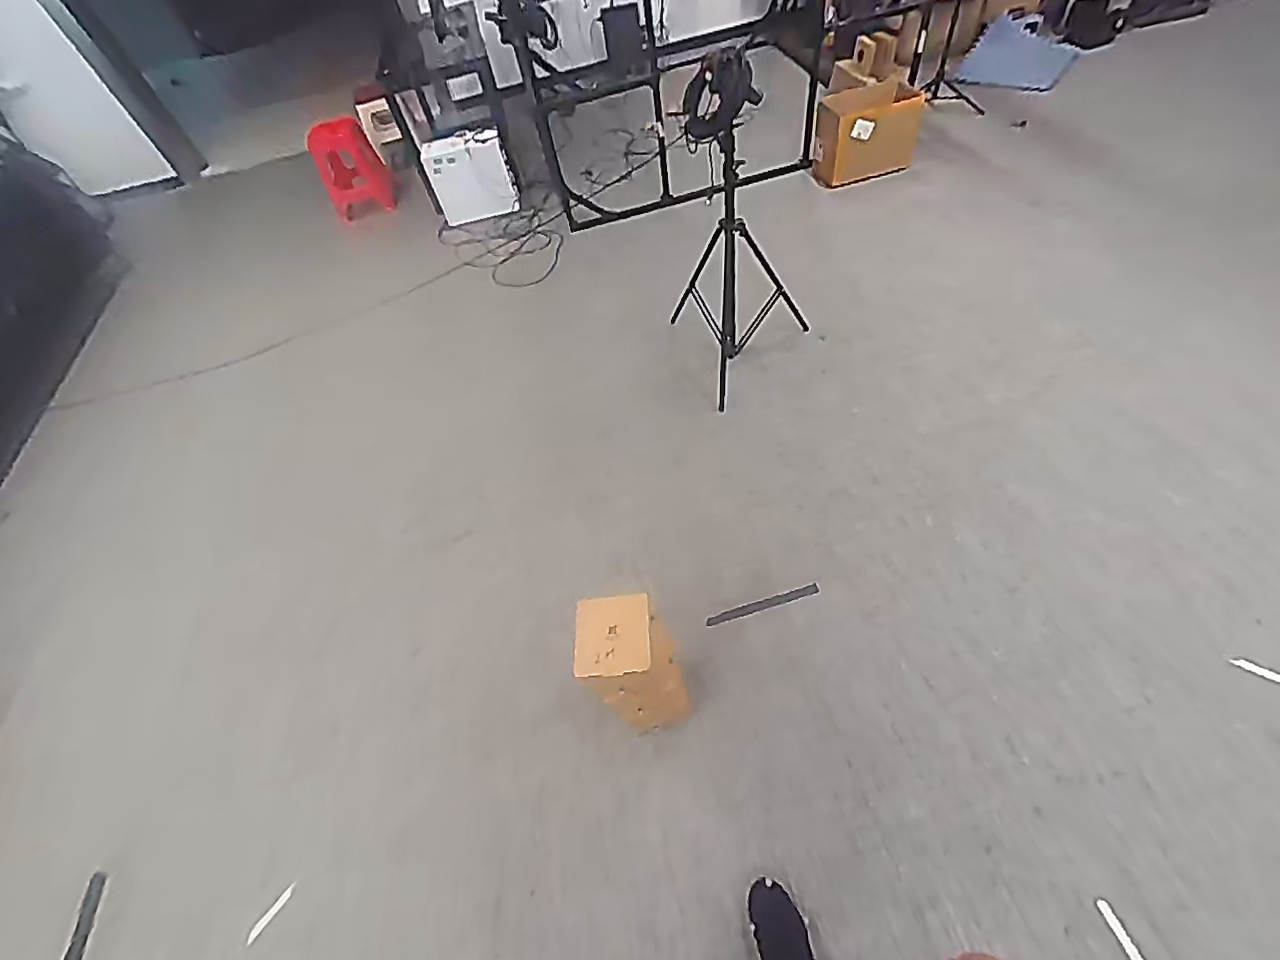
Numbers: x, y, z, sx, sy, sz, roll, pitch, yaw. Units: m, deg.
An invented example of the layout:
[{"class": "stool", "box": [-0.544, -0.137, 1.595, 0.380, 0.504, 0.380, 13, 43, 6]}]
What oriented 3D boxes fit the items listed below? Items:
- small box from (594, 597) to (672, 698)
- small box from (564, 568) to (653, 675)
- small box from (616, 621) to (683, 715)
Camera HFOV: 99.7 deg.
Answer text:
[{"class": "small box", "box": [-0.021, 0.414, 1.327, 0.168, 0.176, 0.179, -12, 54, 3]}, {"class": "small box", "box": [-0.064, 0.317, 1.200, 0.168, 0.176, 0.179, -7, 54, 6]}, {"class": "small box", "box": [0.015, 0.507, 1.454, 0.168, 0.176, 0.179, -14, 53, 1]}]
